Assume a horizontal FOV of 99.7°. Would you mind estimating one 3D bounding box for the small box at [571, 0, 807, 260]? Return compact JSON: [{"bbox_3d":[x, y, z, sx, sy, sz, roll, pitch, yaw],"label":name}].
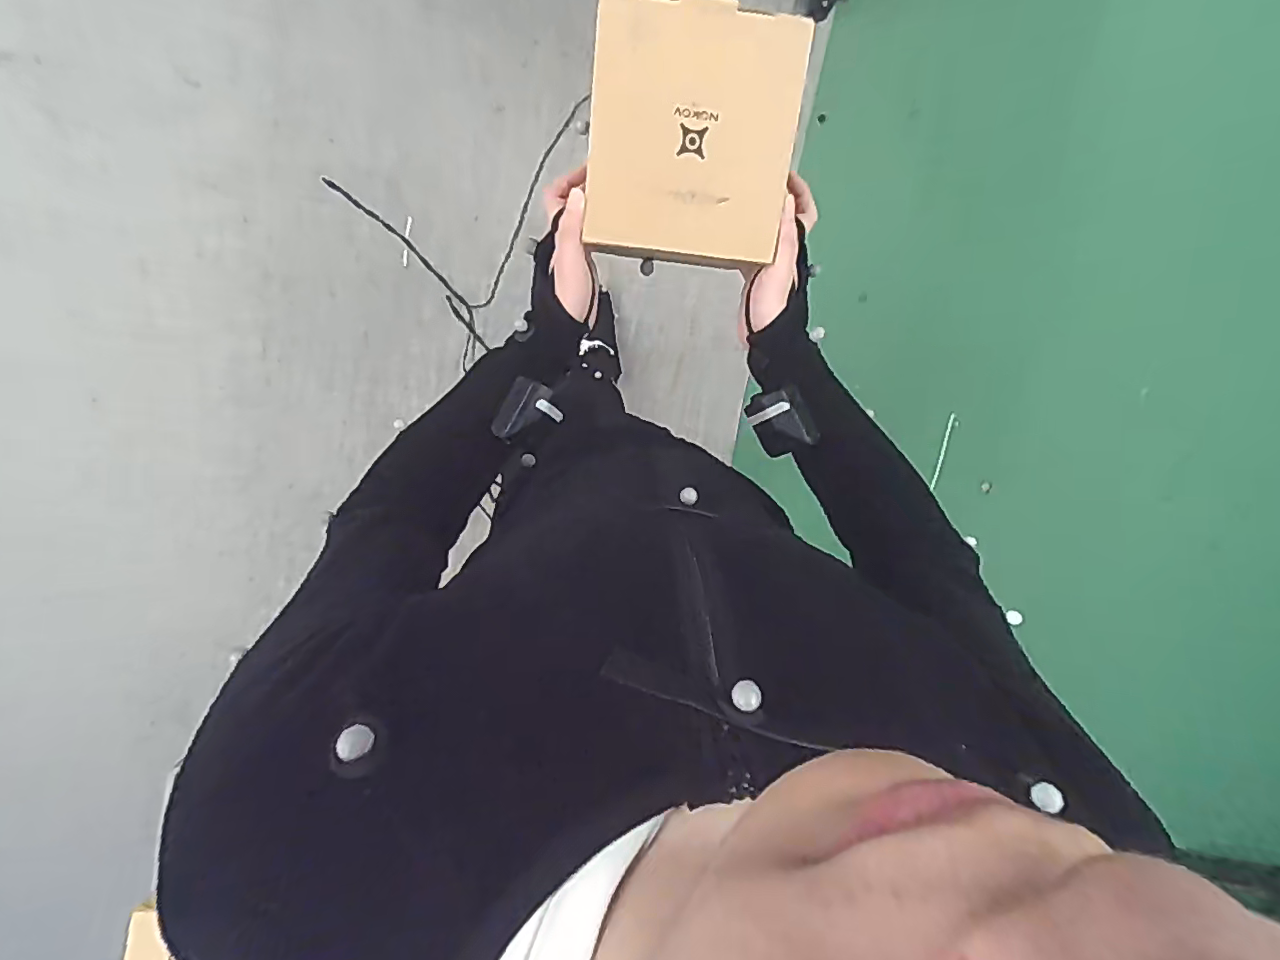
[{"bbox_3d":[0.030,-0.305,0.490,0.168,0.176,0.179,5,110,-4],"label":"small box"}]
